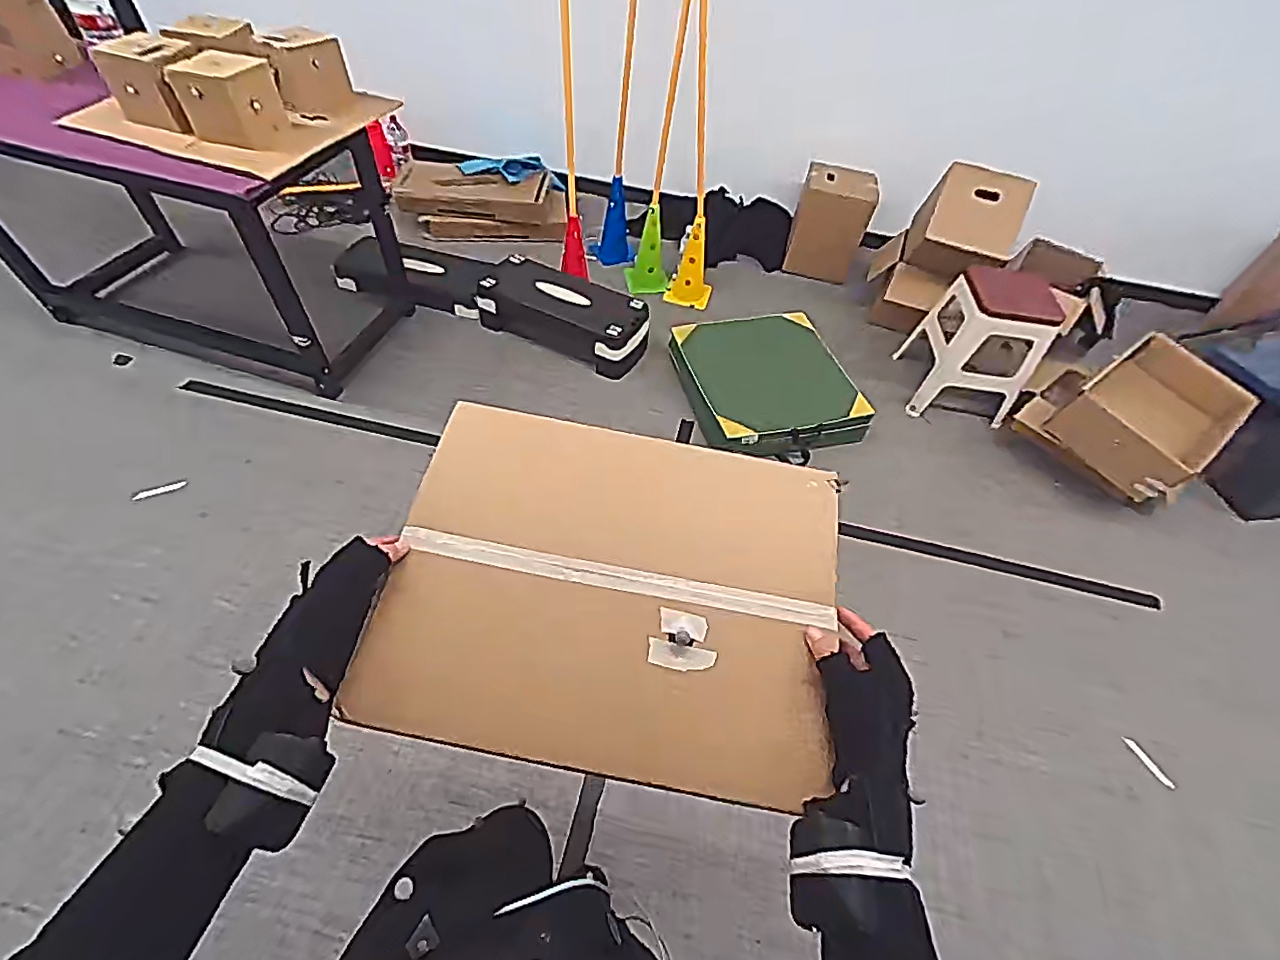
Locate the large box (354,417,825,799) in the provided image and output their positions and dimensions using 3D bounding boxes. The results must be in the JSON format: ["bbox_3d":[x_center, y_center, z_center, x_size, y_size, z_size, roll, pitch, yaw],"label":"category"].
[{"bbox_3d":[-0.033,0.164,0.645,0.408,0.320,0.320,11,63,1],"label":"large box"}]
